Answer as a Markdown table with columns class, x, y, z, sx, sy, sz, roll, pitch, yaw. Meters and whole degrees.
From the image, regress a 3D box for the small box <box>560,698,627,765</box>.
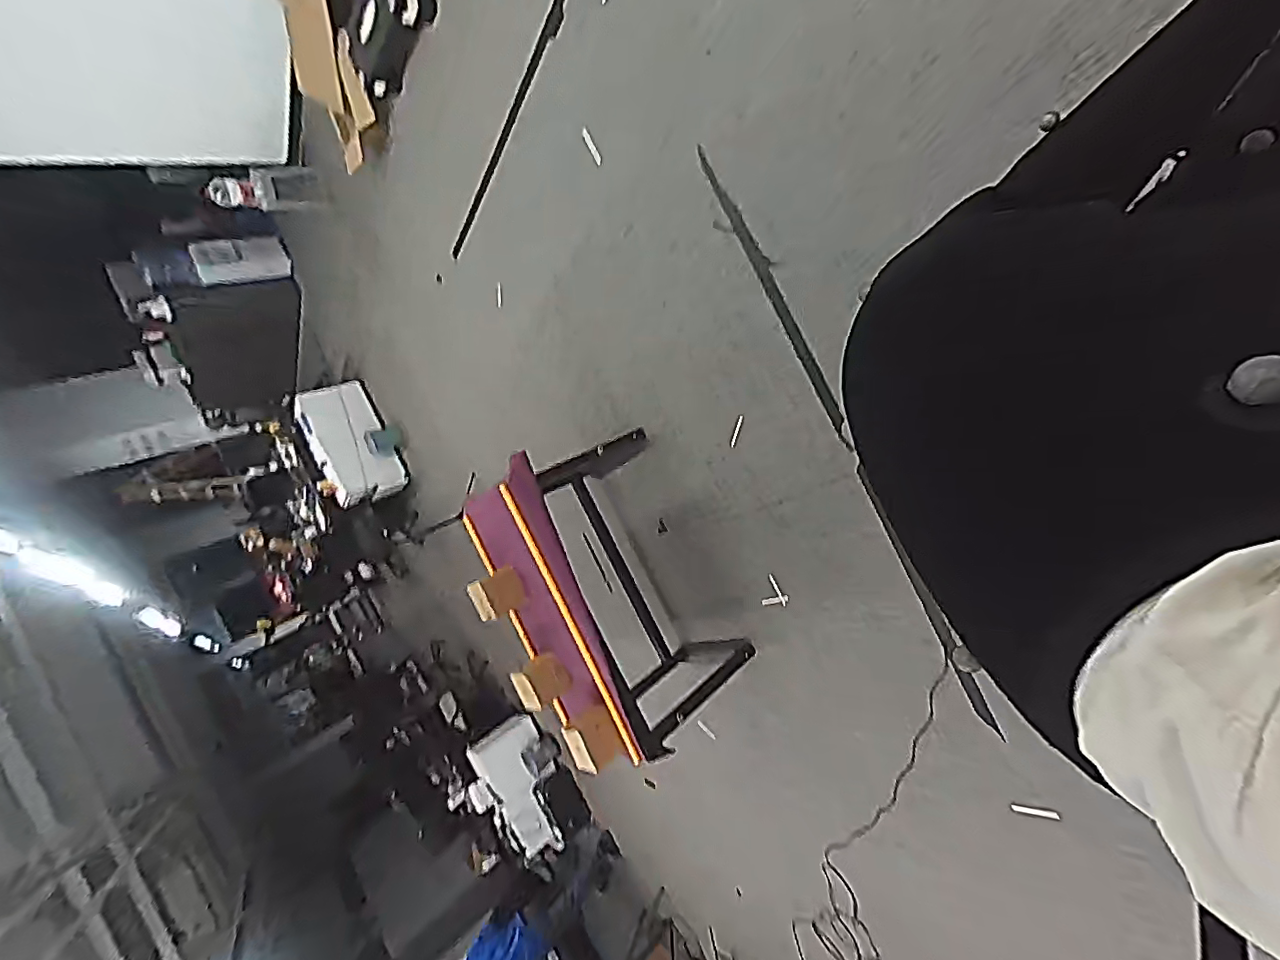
| class | x | y | z | sx | sy | sz | roll | pitch | yaw |
| --- | --- | --- | --- | --- | --- | --- | --- | --- | --- |
| small box | -0.184 | 0.993 | 2.152 | 0.168 | 0.176 | 0.179 | -27 | 87 | 53 |

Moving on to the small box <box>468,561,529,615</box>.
| class | x | y | z | sx | sy | sz | roll | pitch | yaw |
| --- | --- | --- | --- | --- | --- | --- | --- | --- | --- |
| small box | -0.618 | 0.465 | 2.361 | 0.168 | 0.176 | 0.179 | -25 | 92 | 51 |

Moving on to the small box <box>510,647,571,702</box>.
| class | x | y | z | sx | sy | sz | roll | pitch | yaw |
| --- | --- | --- | --- | --- | --- | --- | --- | --- | --- |
| small box | -0.433 | 0.846 | 2.363 | 0.179 | 0.176 | 0.168 | -25 | 91 | 51 |
